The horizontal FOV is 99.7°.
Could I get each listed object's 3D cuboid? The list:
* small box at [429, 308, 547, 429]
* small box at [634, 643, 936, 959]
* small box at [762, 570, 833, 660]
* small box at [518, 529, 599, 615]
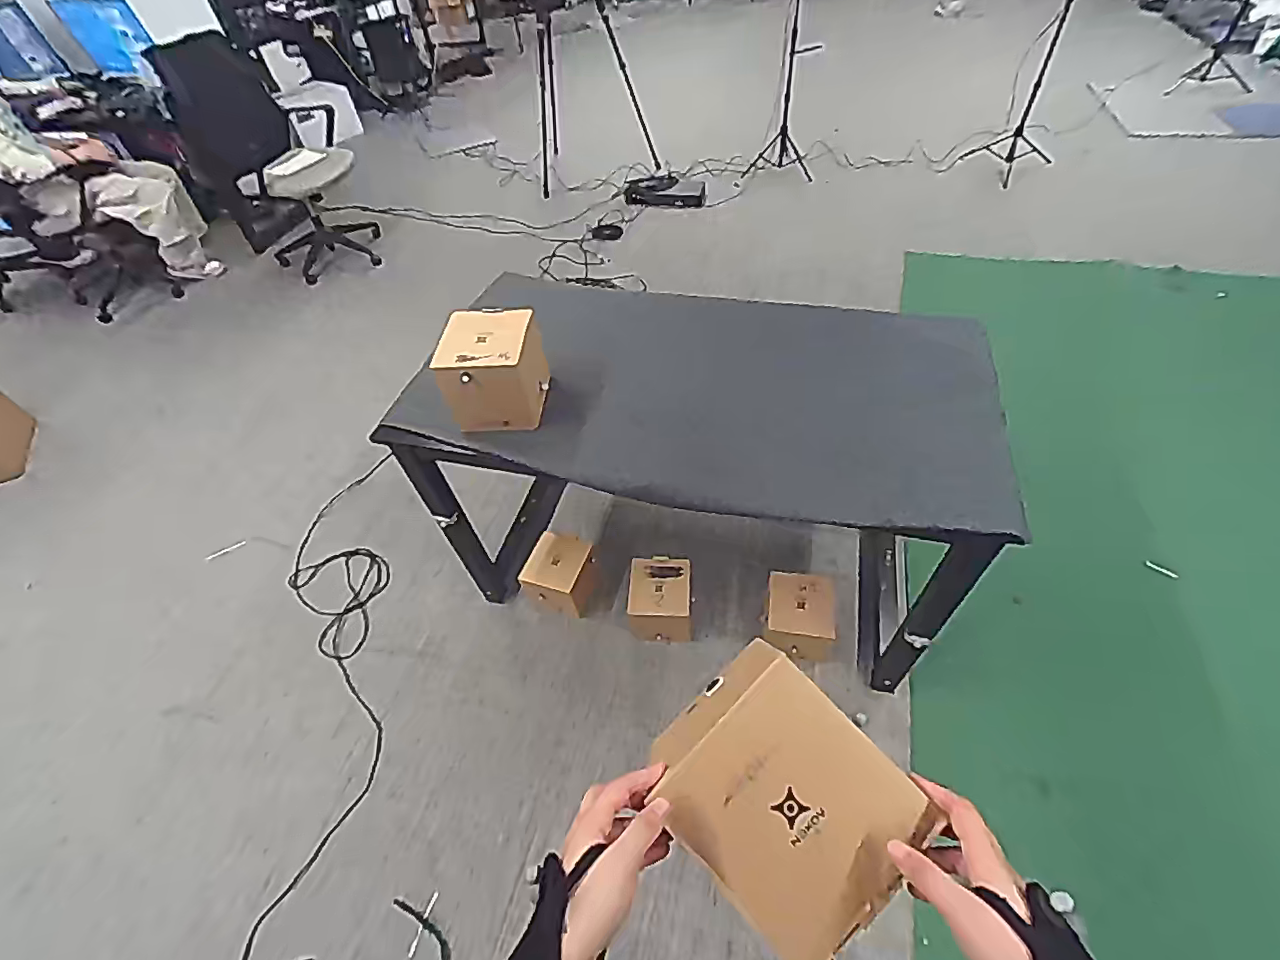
[{"bbox_3d":[-0.289,-0.221,1.077,0.168,0.176,0.179,-1,50,6],"label":"small box"},{"bbox_3d":[0.117,0.271,0.499,0.179,0.176,0.168,44,84,11],"label":"small box"},{"bbox_3d":[0.422,0.368,1.459,0.168,0.176,0.179,6,51,10],"label":"small box"},{"bbox_3d":[-0.234,0.277,1.611,0.168,0.176,0.179,13,52,16],"label":"small box"}]
